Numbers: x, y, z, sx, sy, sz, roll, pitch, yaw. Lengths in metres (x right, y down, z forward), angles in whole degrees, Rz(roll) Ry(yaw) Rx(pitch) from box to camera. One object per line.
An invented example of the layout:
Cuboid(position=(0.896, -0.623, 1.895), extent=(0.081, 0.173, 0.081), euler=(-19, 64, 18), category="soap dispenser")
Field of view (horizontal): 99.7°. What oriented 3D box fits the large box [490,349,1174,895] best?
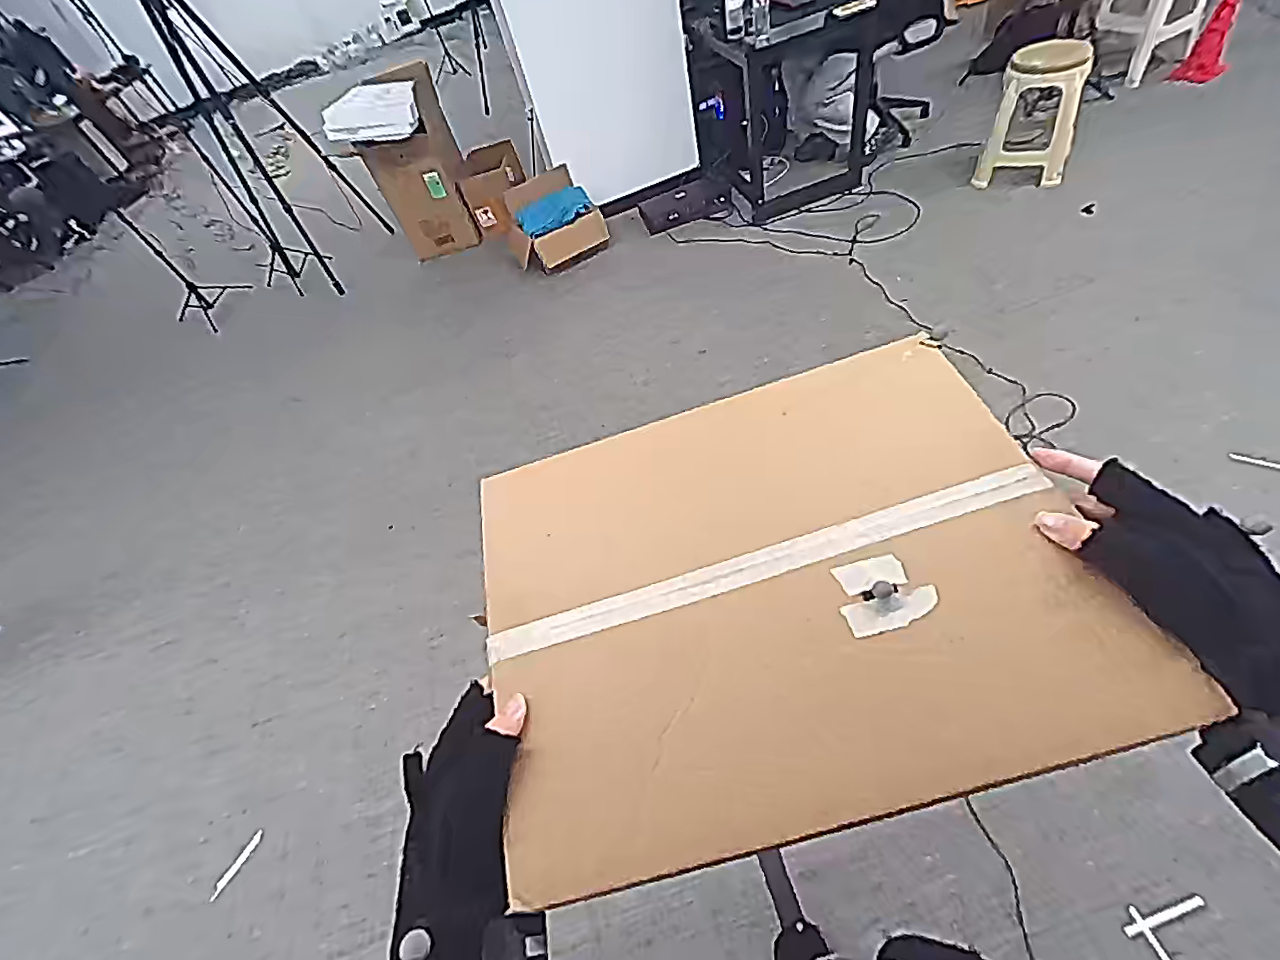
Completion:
Cuboid(position=(0.116, 0.146, 0.521), extent=(0.408, 0.320, 0.320), euler=(-19, 56, 3), category="large box")
